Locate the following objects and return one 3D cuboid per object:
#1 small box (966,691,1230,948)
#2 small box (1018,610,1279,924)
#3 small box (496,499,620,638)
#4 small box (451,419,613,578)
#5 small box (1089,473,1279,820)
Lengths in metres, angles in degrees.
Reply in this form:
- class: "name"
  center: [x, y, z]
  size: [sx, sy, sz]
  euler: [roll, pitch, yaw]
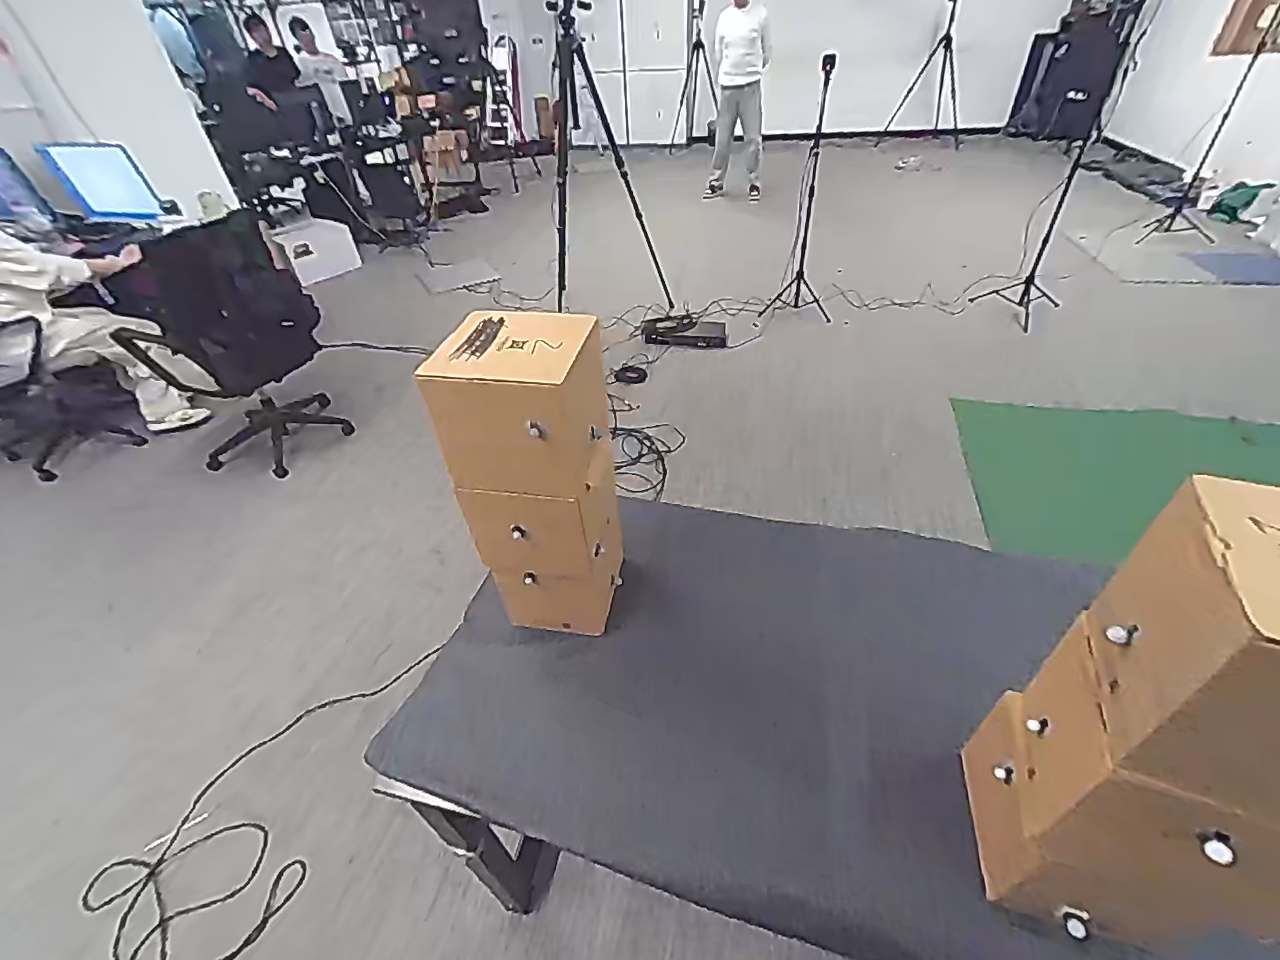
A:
- class: "small box"
  center: [0.485, 0.369, 0.596]
  size: [0.168, 0.176, 0.179]
  euler: [6, 41, 14]
- class: "small box"
  center: [0.471, 0.253, 0.483]
  size: [0.179, 0.176, 0.168]
  euler: [13, 42, 22]
- class: "small box"
  center: [-0.132, 0.142, 0.926]
  size: [0.168, 0.176, 0.179]
  euler: [4, 41, 10]
- class: "small box"
  center: [-0.144, 0.028, 0.806]
  size: [0.179, 0.176, 0.168]
  euler: [4, 42, 11]
- class: "small box"
  center: [0.464, 0.124, 0.380]
  size: [0.179, 0.176, 0.168]
  euler: [14, 42, 24]
